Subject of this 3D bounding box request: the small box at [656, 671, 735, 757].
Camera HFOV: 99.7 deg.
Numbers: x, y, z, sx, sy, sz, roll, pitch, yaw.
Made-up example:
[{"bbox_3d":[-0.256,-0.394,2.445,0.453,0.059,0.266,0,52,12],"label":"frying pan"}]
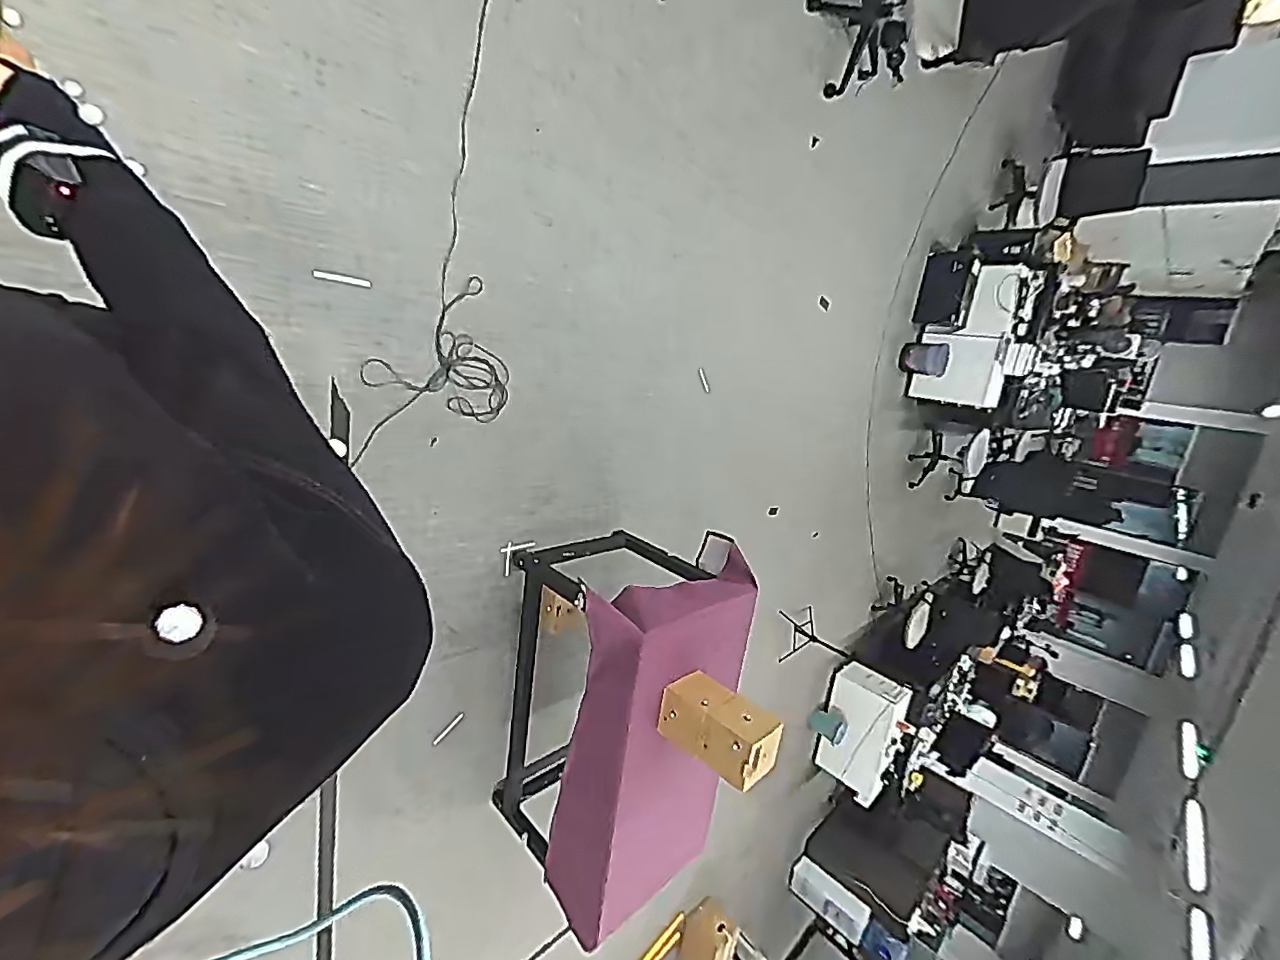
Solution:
[{"bbox_3d":[0.180,0.748,1.752,0.179,0.176,0.168,-6,109,-45],"label":"small box"}]
